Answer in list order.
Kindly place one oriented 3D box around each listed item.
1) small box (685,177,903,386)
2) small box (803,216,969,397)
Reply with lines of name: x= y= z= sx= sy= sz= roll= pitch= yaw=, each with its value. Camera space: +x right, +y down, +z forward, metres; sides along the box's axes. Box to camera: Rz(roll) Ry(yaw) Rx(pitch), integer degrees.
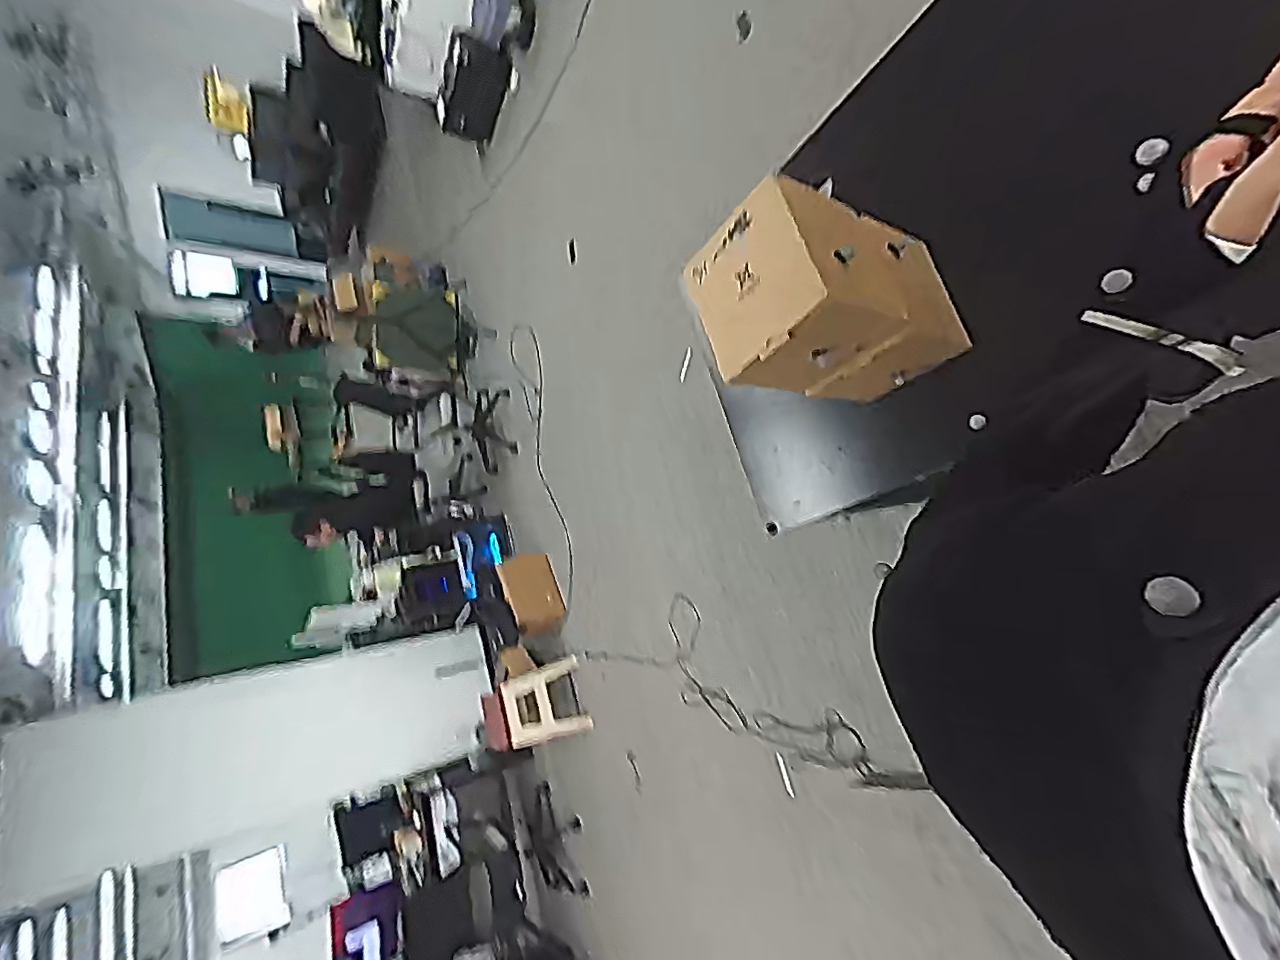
small box: x=0.191 y=-0.233 z=0.678 sx=0.168 sy=0.176 sz=0.179 roll=-37 pitch=64 yaw=48
small box: x=0.326 y=-0.233 z=0.772 sx=0.168 sy=0.176 sz=0.179 roll=-34 pitch=66 yaw=50
